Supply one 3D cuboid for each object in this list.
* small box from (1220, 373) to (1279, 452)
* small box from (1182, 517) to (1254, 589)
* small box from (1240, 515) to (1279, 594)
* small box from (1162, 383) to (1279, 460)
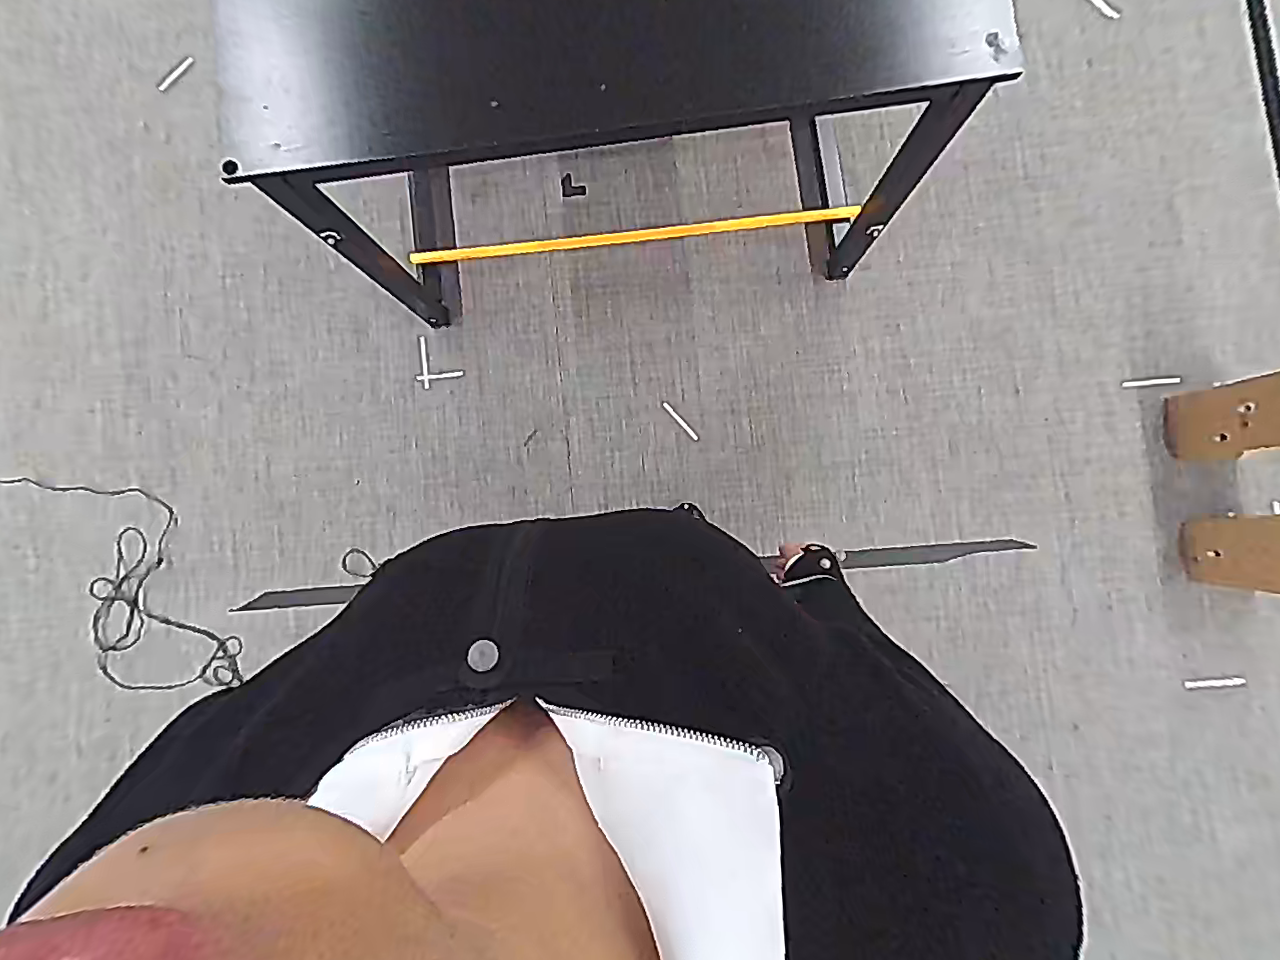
[{"bbox_3d":[1.477,-0.160,1.206,0.179,0.176,0.168,-7,85,3],"label":"small box"},{"bbox_3d":[1.516,0.178,1.351,0.179,0.176,0.168,-4,87,3],"label":"small box"},{"bbox_3d":[1.491,0.162,1.187,0.168,0.176,0.179,-6,87,2],"label":"small box"},{"bbox_3d":[1.490,-0.148,1.368,0.168,0.176,0.179,-7,86,2],"label":"small box"}]
